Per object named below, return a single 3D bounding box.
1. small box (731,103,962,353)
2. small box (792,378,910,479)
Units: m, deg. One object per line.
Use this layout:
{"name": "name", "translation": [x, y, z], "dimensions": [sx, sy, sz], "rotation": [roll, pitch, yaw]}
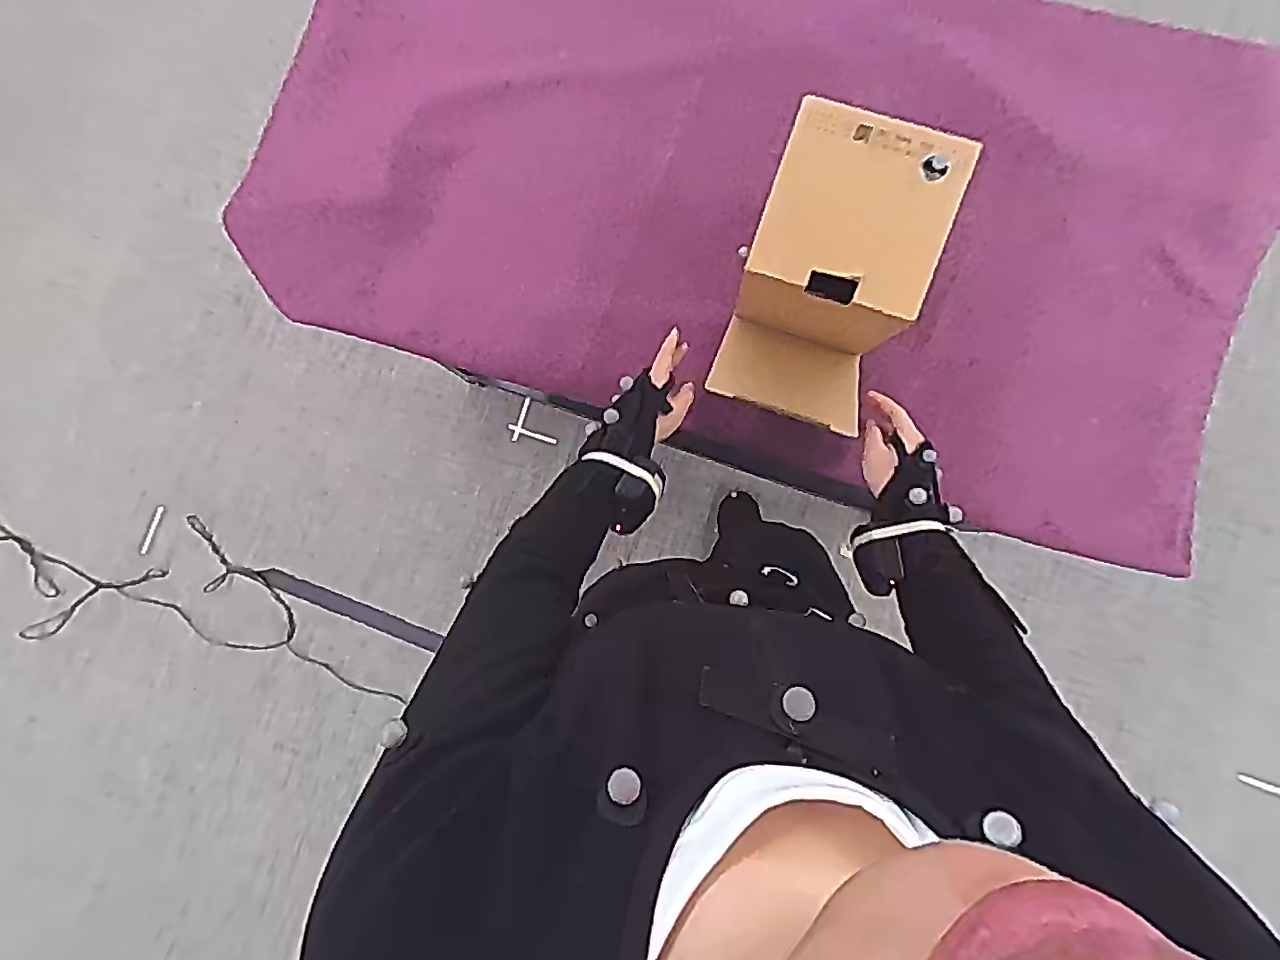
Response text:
{"name": "small box", "translation": [0.207, -0.254, 0.577], "dimensions": [0.168, 0.179, 0.176], "rotation": [20, 95, 5]}
{"name": "small box", "translation": [0.450, -0.104, 1.184], "dimensions": [0.179, 0.176, 0.168], "rotation": [18, 88, 5]}
